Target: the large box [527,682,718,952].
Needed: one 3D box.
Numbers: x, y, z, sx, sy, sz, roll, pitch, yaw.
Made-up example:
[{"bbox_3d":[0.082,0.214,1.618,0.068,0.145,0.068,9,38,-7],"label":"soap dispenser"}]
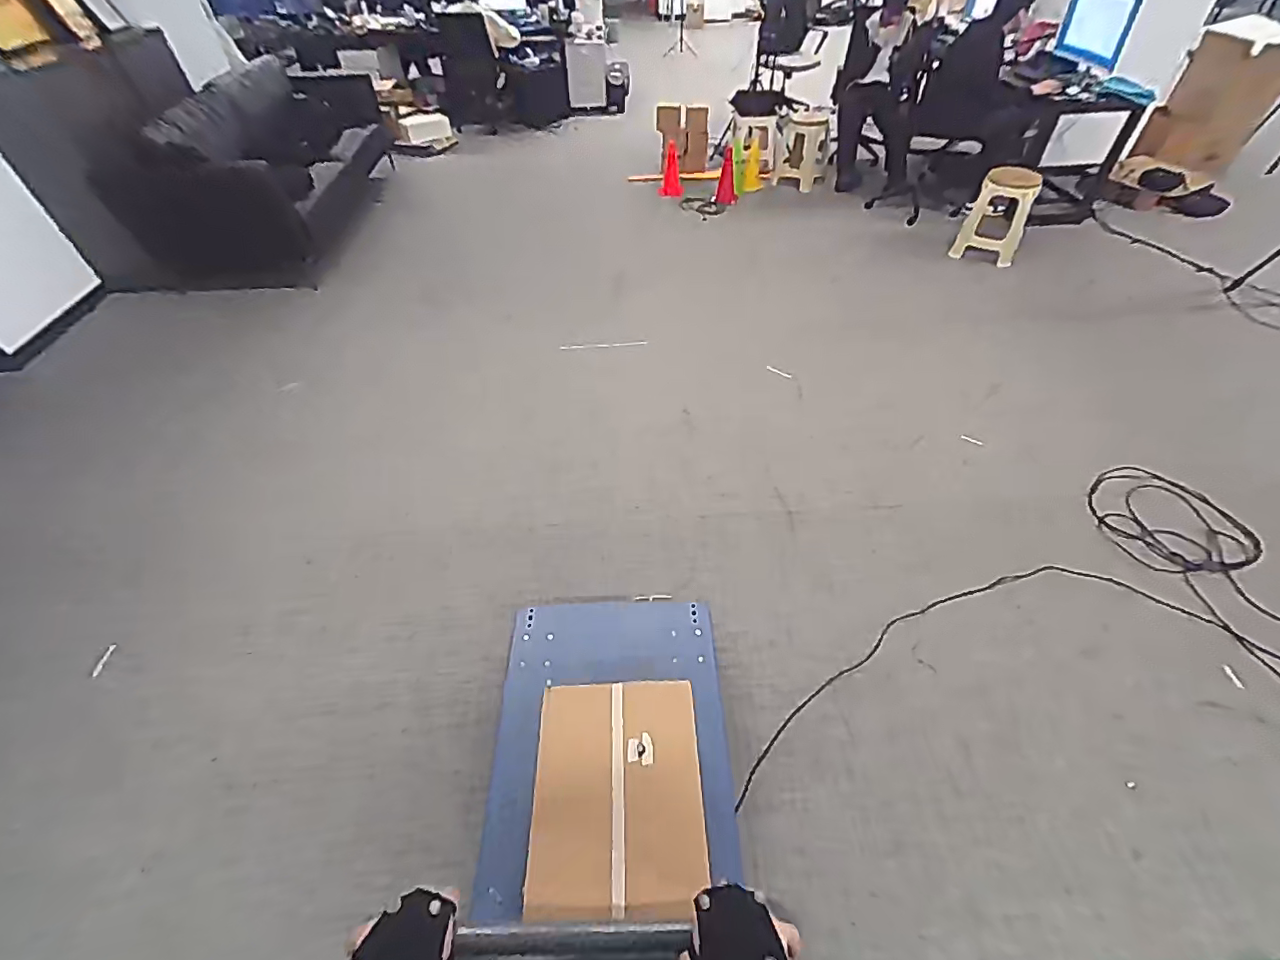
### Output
[{"bbox_3d":[-0.032,0.677,1.100,0.320,0.320,0.408,-2,45,-1],"label":"large box"}]
